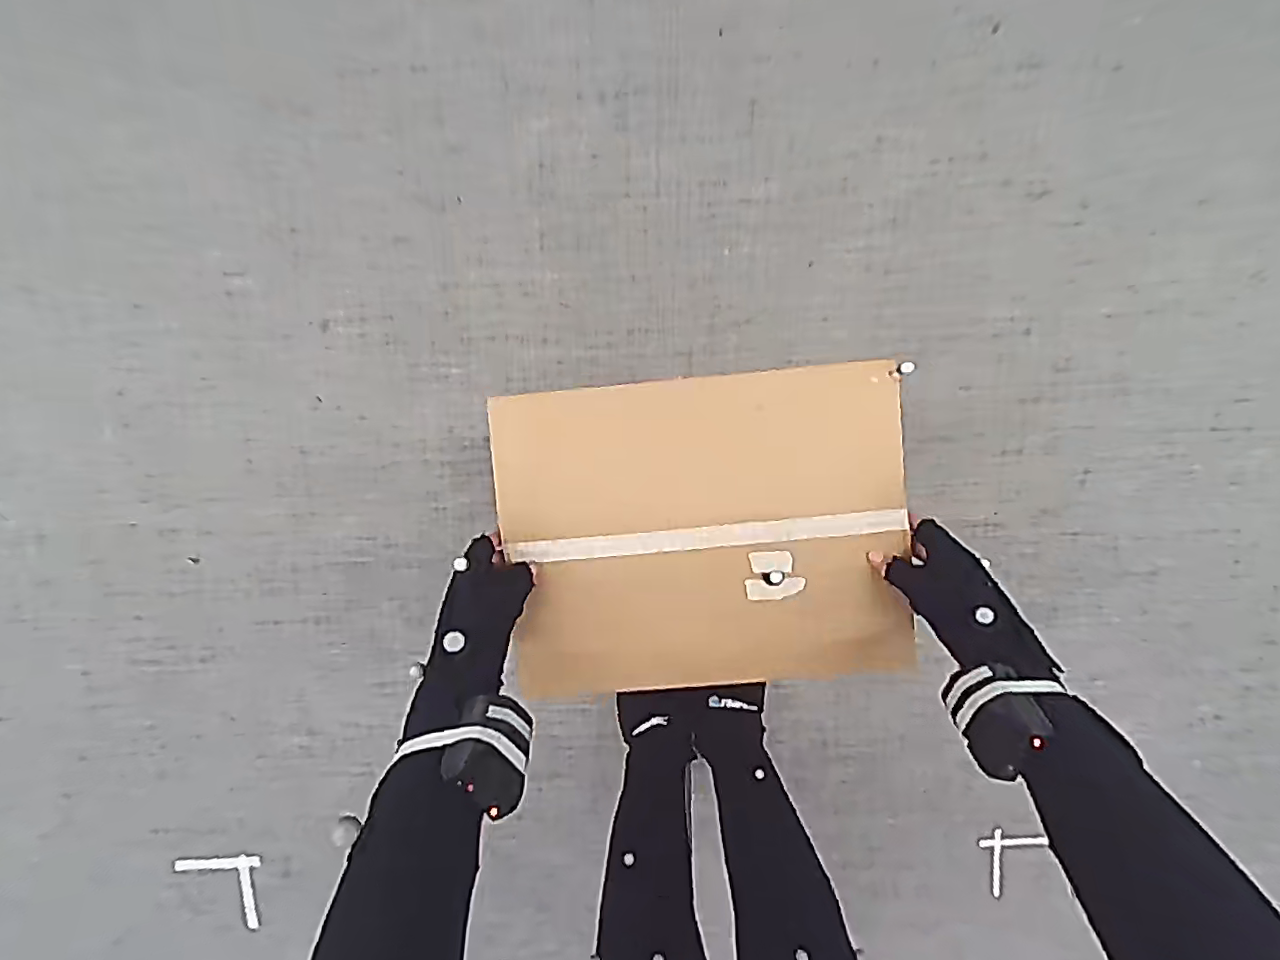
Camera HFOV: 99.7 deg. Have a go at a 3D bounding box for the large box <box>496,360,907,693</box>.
[{"bbox_3d":[0.067,0.043,0.705,0.408,0.320,0.320,-6,95,2],"label":"large box"}]
